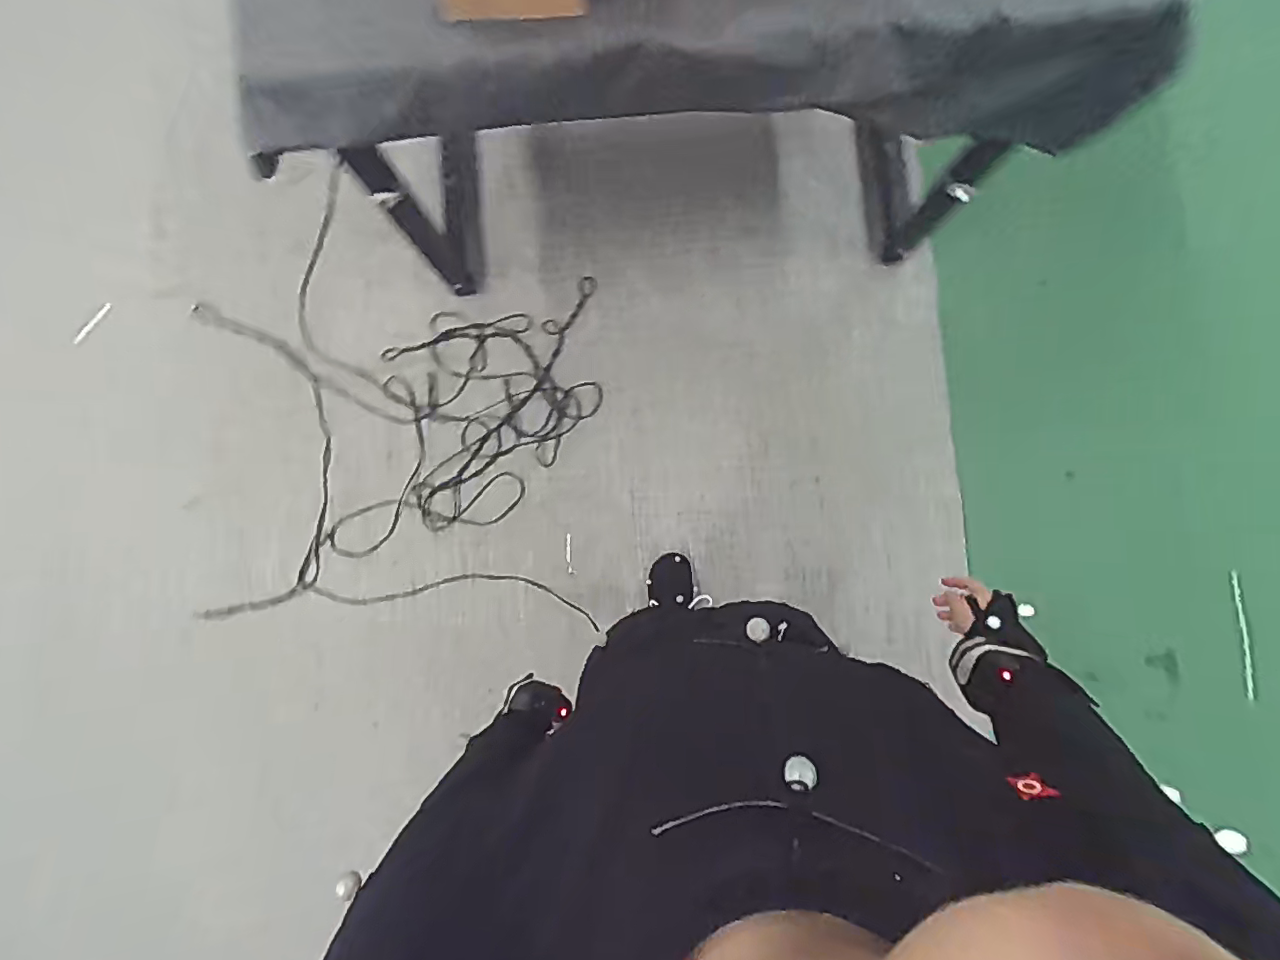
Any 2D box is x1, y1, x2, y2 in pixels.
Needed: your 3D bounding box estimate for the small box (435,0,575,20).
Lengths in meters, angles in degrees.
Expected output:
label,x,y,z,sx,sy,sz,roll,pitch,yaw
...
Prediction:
label,x,y,z,sx,sy,sz,roll,pitch,yaw
small box,-0.174,-0.674,0.616,0.179,0.176,0.168,-3,84,0
